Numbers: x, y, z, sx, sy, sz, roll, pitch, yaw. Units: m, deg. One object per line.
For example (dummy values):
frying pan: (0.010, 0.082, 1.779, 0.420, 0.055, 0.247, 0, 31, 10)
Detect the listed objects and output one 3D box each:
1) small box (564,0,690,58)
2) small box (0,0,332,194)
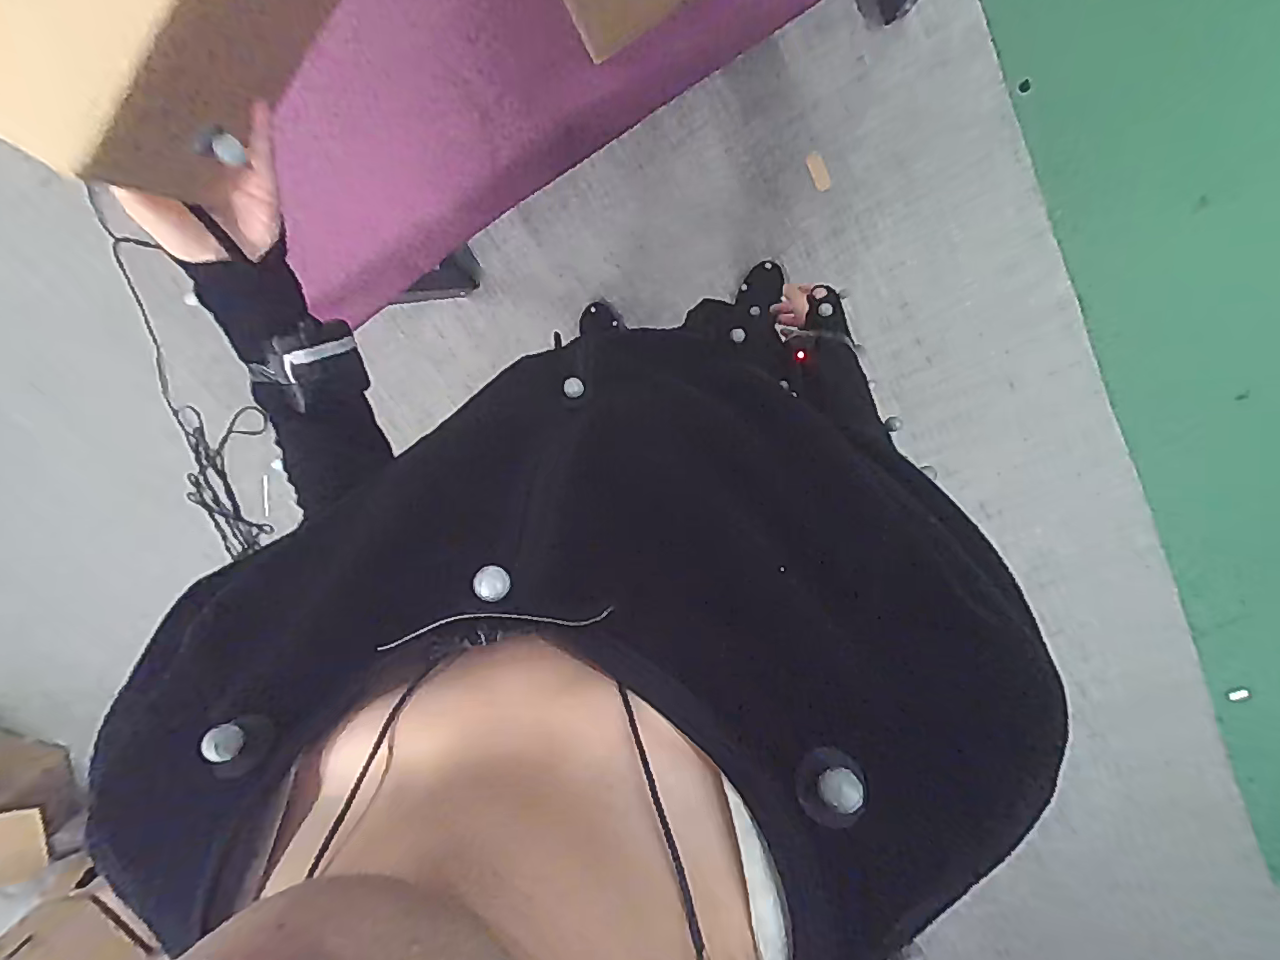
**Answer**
small box: (-0.019, -0.543, 0.494, 0.179, 0.176, 0.168, -27, 105, 14)
small box: (-0.252, -0.258, 0.231, 0.168, 0.179, 0.176, 32, 98, -30)
